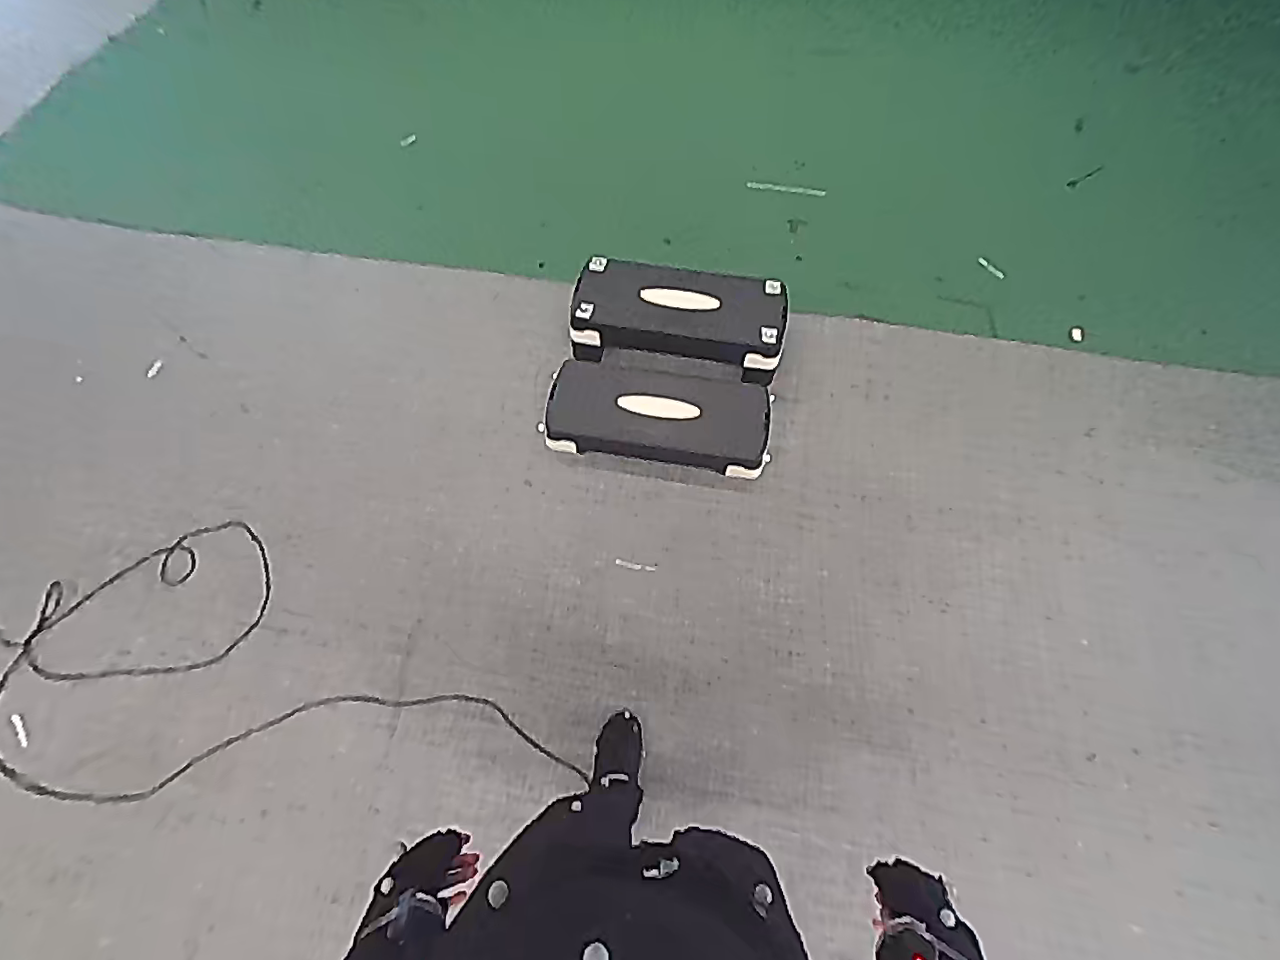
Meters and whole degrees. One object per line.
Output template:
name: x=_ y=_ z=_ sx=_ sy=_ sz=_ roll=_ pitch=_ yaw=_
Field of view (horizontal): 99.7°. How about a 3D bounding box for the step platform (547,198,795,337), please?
step platform: x=0.087 y=-0.618 z=1.581 sx=0.684 sy=0.204 sz=0.286 roll=9 pitch=64 yaw=5
